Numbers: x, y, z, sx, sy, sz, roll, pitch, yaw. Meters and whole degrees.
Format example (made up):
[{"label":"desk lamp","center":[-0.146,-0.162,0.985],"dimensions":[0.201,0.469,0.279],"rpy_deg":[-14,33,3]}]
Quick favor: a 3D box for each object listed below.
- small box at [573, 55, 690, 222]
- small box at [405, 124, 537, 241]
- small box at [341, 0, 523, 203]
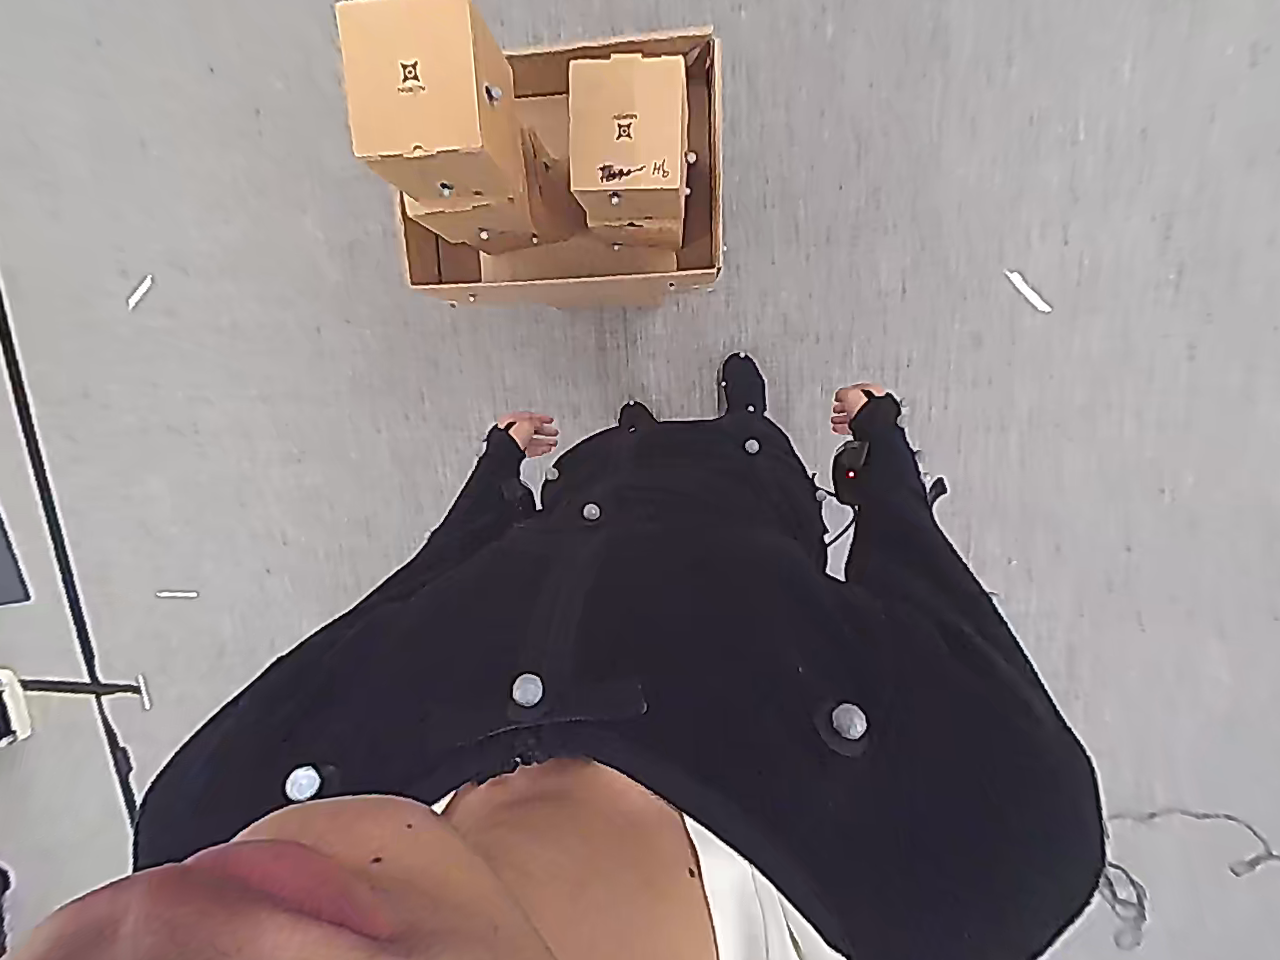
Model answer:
[{"label":"small box","center":[-0.007,-0.528,0.857],"dimensions":[0.168,0.176,0.179],"rpy_deg":[3,101,7]},{"label":"small box","center":[-0.278,-0.514,0.893],"dimensions":[0.168,0.176,0.179],"rpy_deg":[-6,101,6]},{"label":"small box","center":[-0.265,-0.498,0.729],"dimensions":[0.168,0.176,0.179],"rpy_deg":[-3,101,5]}]
